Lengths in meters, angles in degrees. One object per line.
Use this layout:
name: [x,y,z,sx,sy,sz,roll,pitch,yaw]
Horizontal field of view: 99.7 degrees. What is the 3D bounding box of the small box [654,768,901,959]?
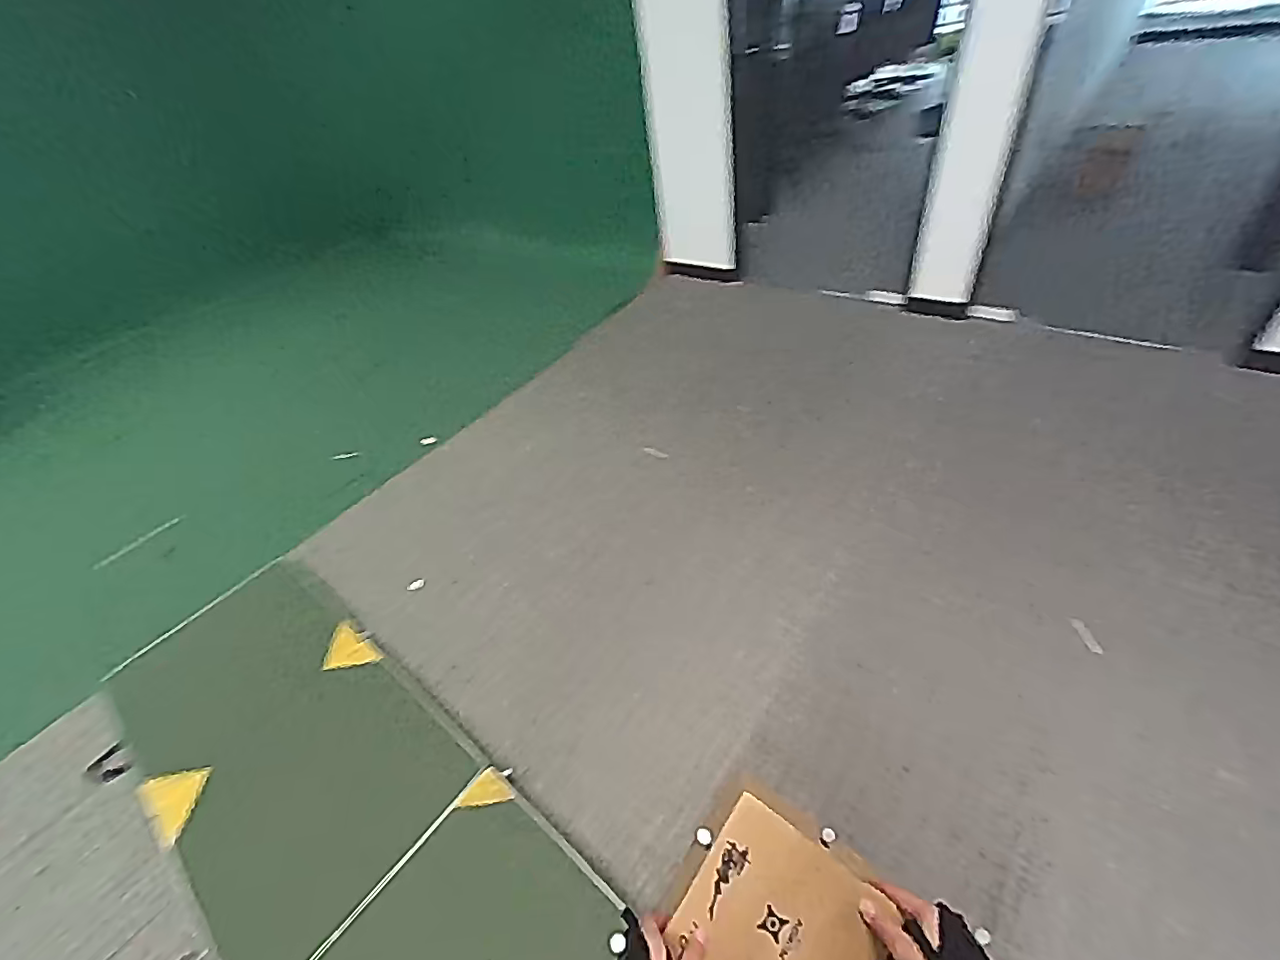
small box: [0.136,0.441,0.580,0.179,0.176,0.168,31,76,16]
